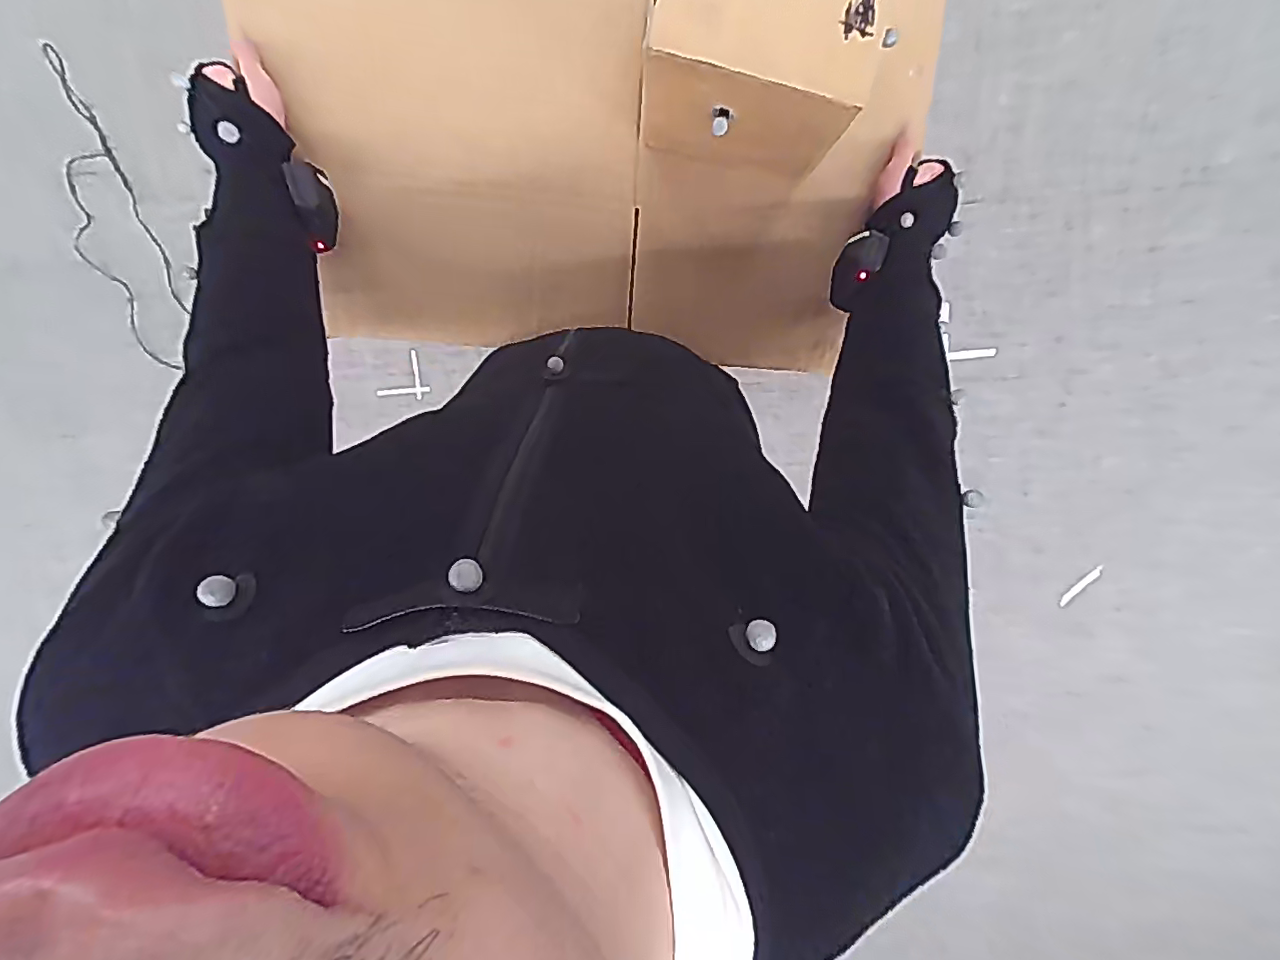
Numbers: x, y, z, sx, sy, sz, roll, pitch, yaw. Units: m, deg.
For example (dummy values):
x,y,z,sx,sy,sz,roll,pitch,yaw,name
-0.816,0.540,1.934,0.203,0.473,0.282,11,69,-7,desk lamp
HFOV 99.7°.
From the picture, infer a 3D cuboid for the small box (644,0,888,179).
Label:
x,y,z,sx,sy,sz,roll,pitch,yaw,name
0.108,-0.400,0.486,0.179,0.176,0.168,14,100,-1,small box
